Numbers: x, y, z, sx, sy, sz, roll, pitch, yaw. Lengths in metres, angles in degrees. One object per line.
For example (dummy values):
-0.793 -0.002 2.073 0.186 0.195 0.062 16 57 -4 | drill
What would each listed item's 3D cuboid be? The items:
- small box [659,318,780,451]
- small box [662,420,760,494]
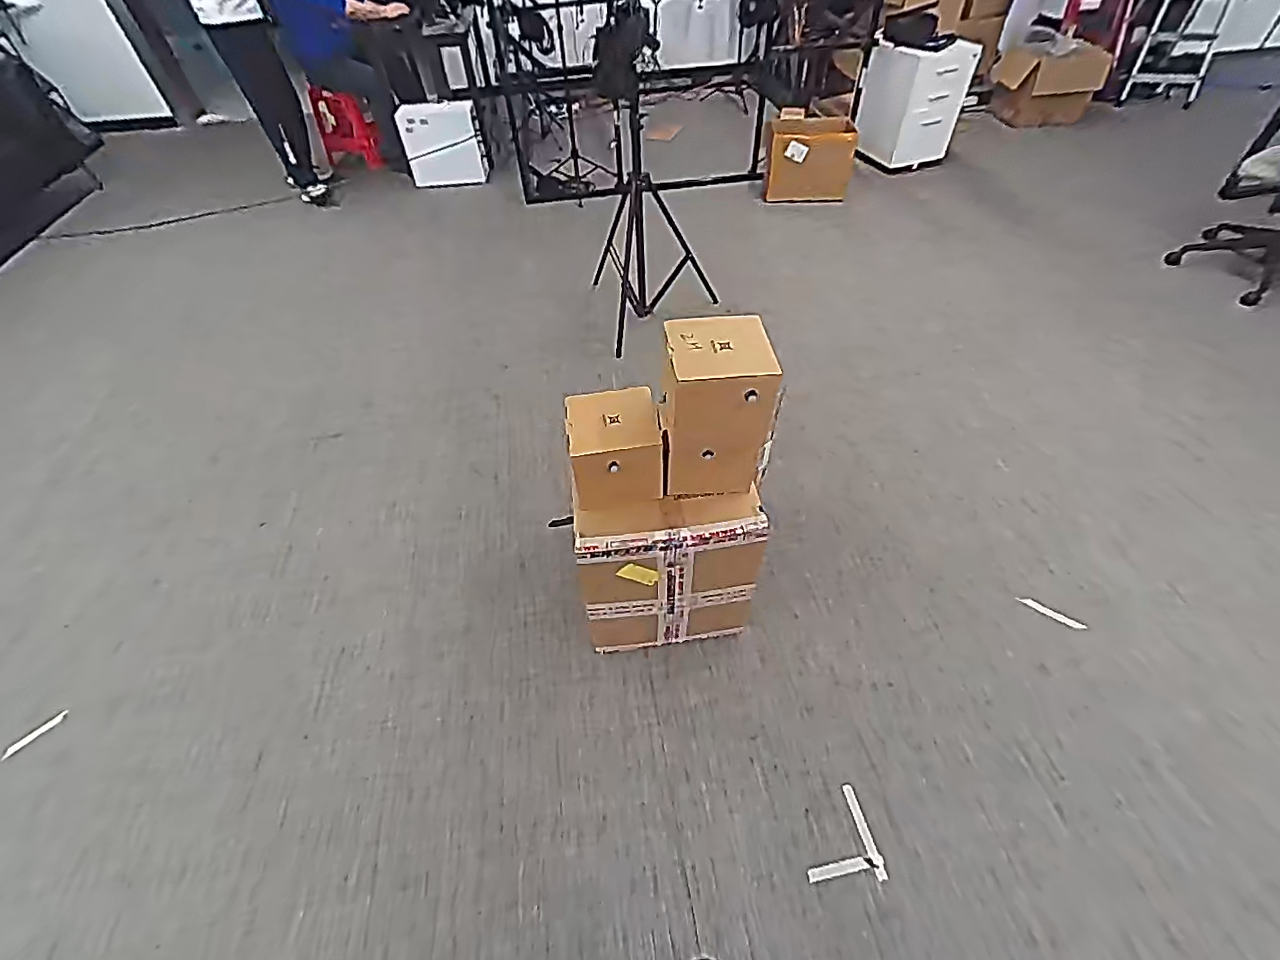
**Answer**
0.132 -0.169 0.970 0.179 0.176 0.168 -5 50 -4 | small box
0.136 -0.083 1.113 0.179 0.176 0.168 -2 51 -2 | small box
